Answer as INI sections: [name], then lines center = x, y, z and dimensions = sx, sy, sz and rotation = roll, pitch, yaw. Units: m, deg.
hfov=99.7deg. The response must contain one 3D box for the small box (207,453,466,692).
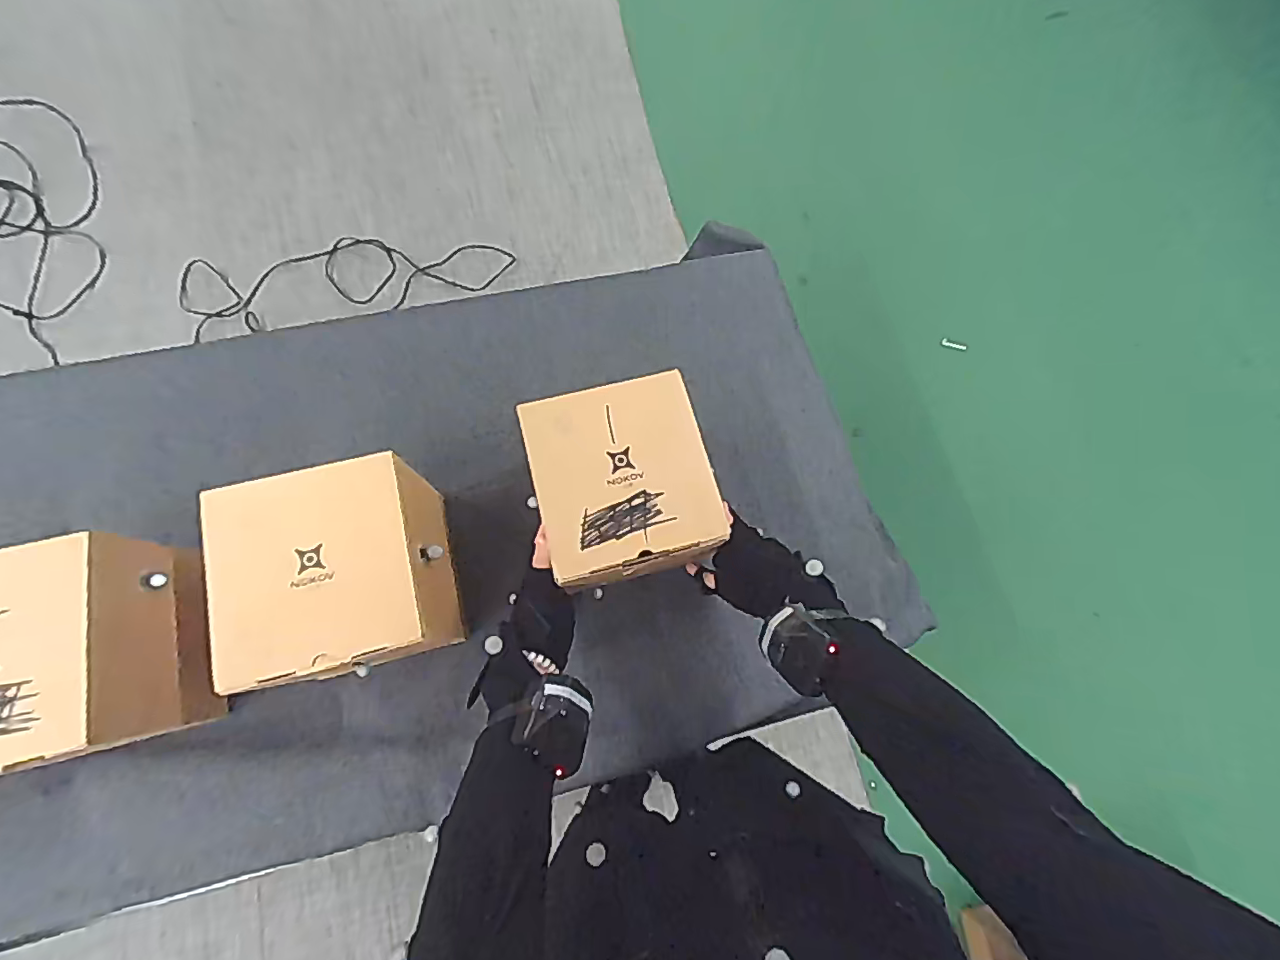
[small box]
center = -0.286, 0.094, 0.540
dimensions = 0.168, 0.176, 0.179
rotation = -14, 77, -9
